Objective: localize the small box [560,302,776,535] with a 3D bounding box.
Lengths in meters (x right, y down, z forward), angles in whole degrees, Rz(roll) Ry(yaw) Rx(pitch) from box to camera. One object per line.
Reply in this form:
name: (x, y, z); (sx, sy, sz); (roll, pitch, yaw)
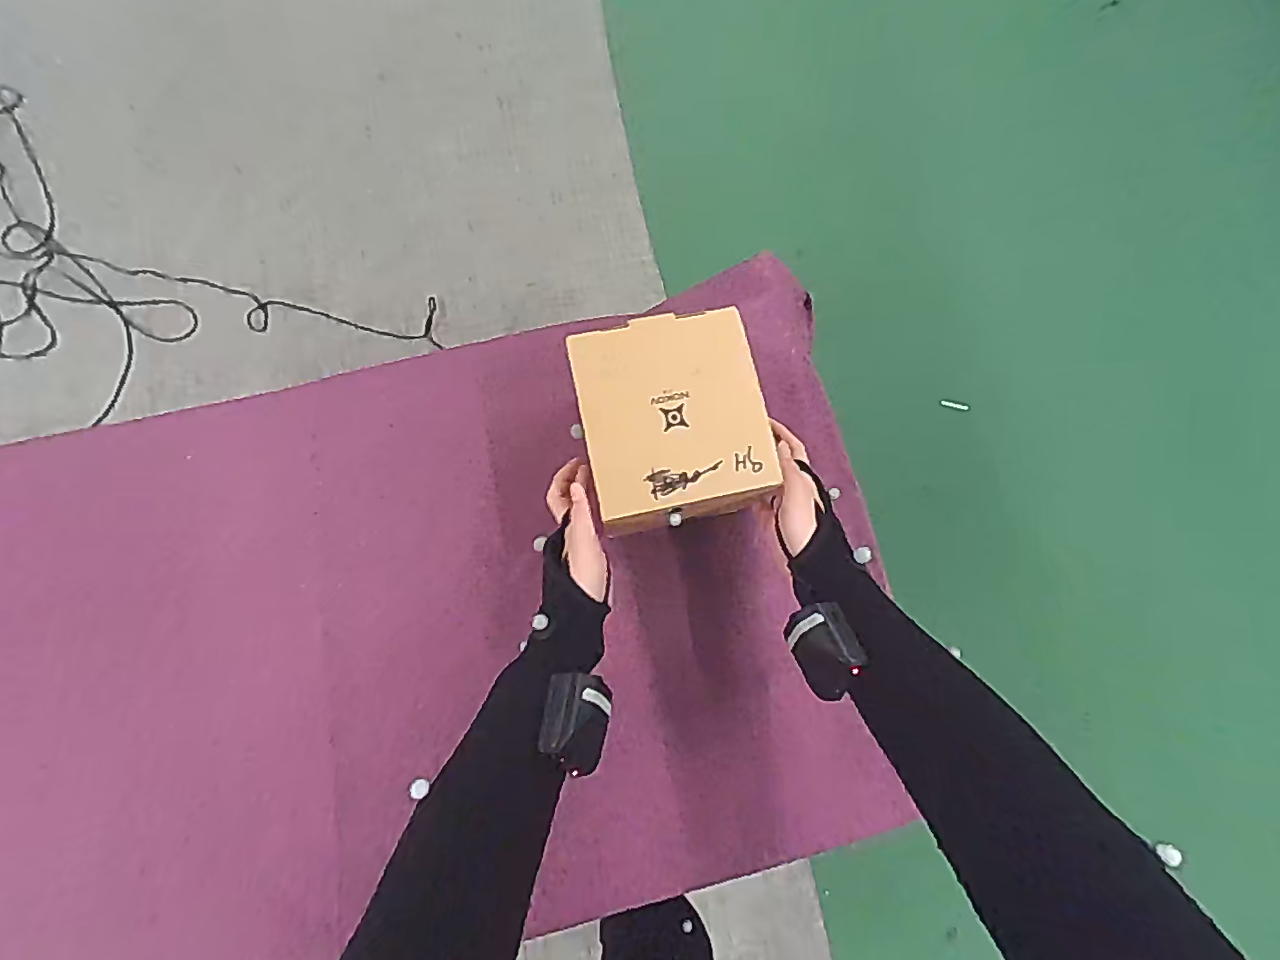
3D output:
small box: (0.019, -0.051, 0.557); (0.168, 0.176, 0.179); (-12, 79, -4)
